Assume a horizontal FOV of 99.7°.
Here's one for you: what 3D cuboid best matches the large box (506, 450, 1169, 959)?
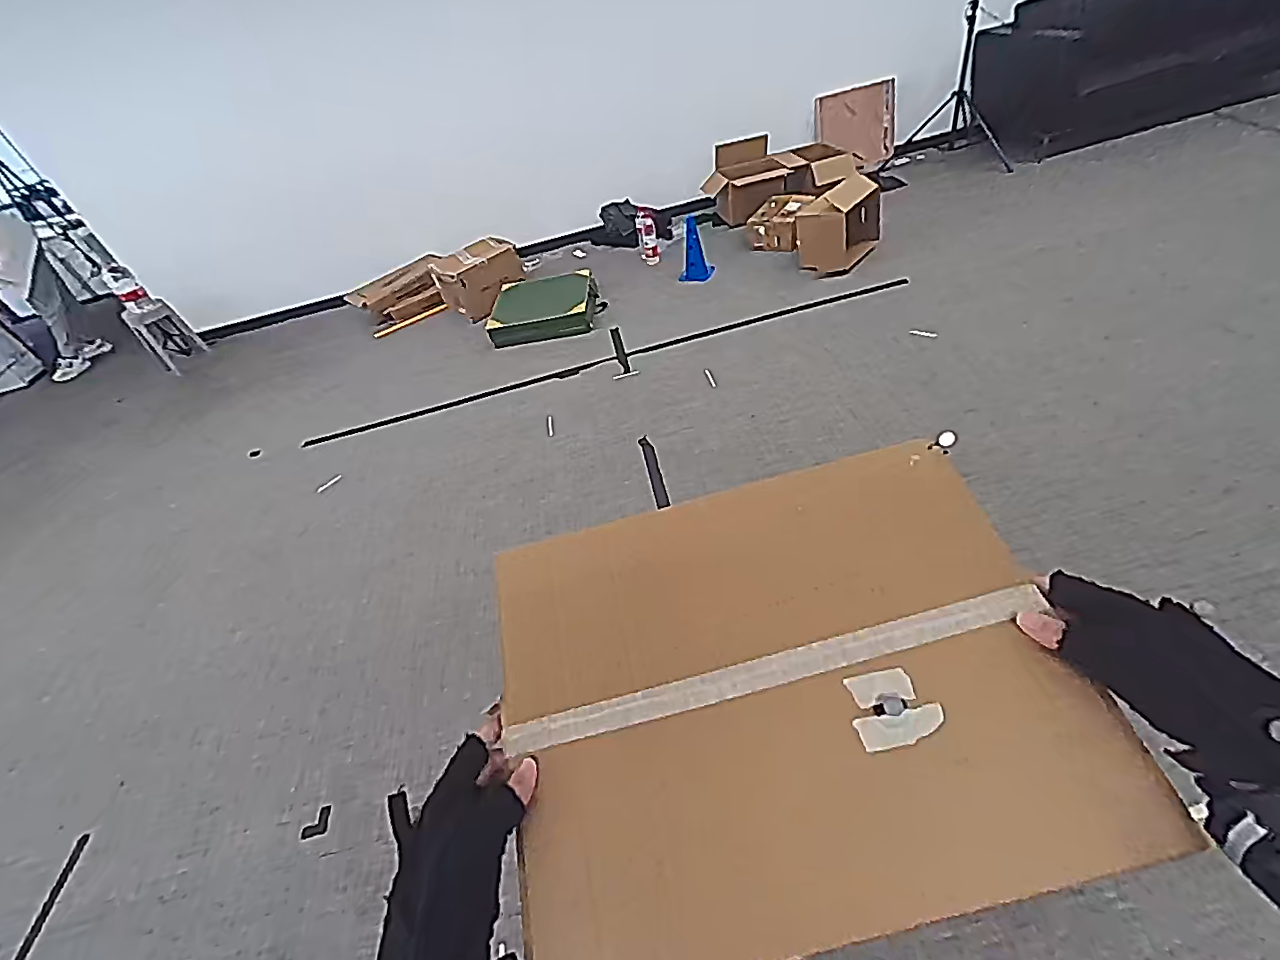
[{"bbox_3d":[0.122,0.228,0.534,0.408,0.320,0.320,-16,57,0],"label":"large box"}]
